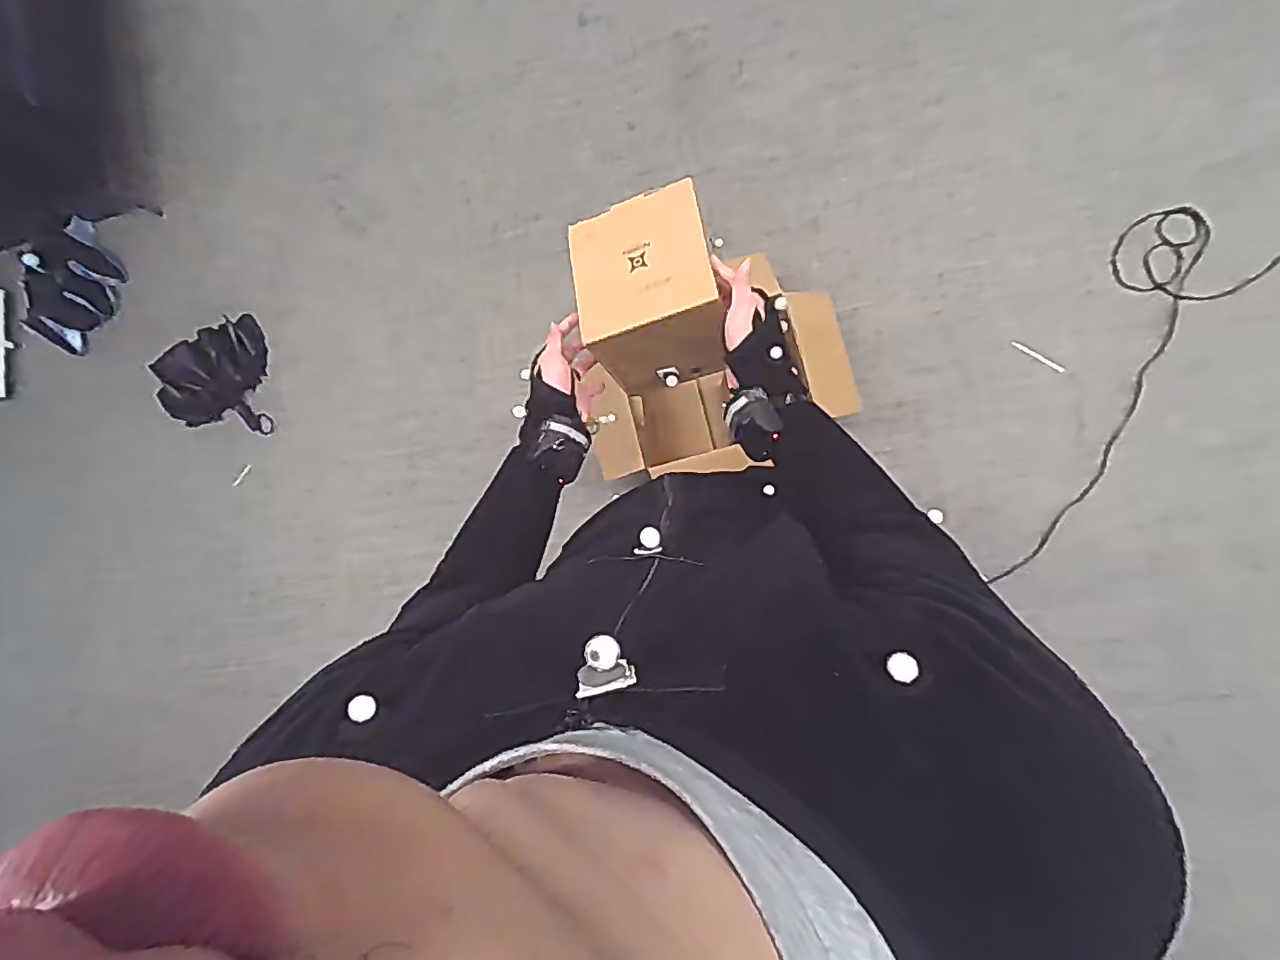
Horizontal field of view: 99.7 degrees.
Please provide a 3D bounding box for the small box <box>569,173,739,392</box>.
[{"bbox_3d":[0.023,-0.240,0.696,0.168,0.176,0.179,-14,70,16],"label":"small box"}]
